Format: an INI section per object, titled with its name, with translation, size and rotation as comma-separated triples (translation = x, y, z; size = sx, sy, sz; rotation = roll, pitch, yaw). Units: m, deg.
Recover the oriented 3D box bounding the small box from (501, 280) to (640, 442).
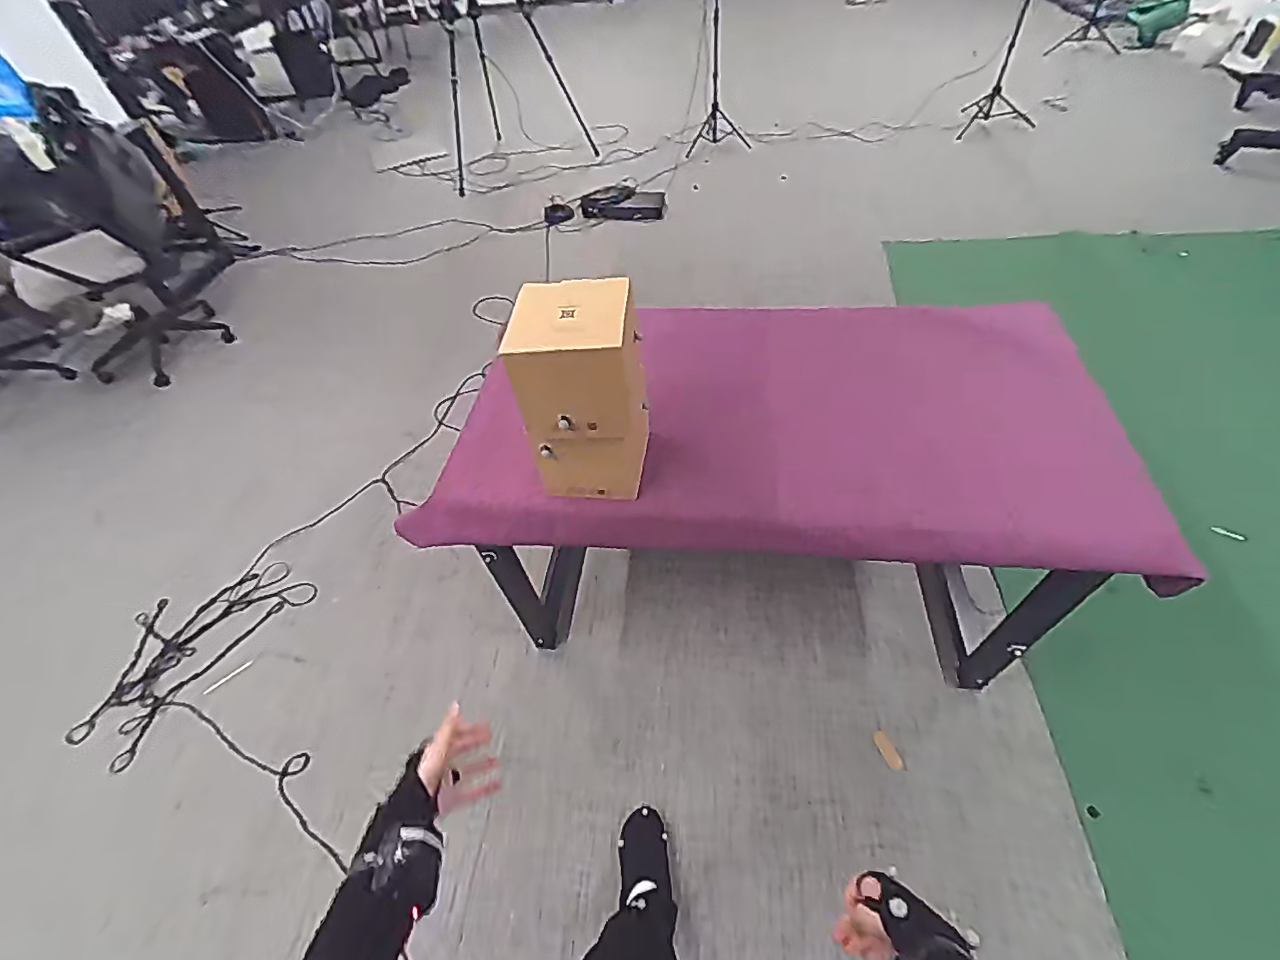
[small box]
translation = -0.090, -0.176, 0.808
size = 0.168, 0.176, 0.179
rotation = -1, 49, 6
